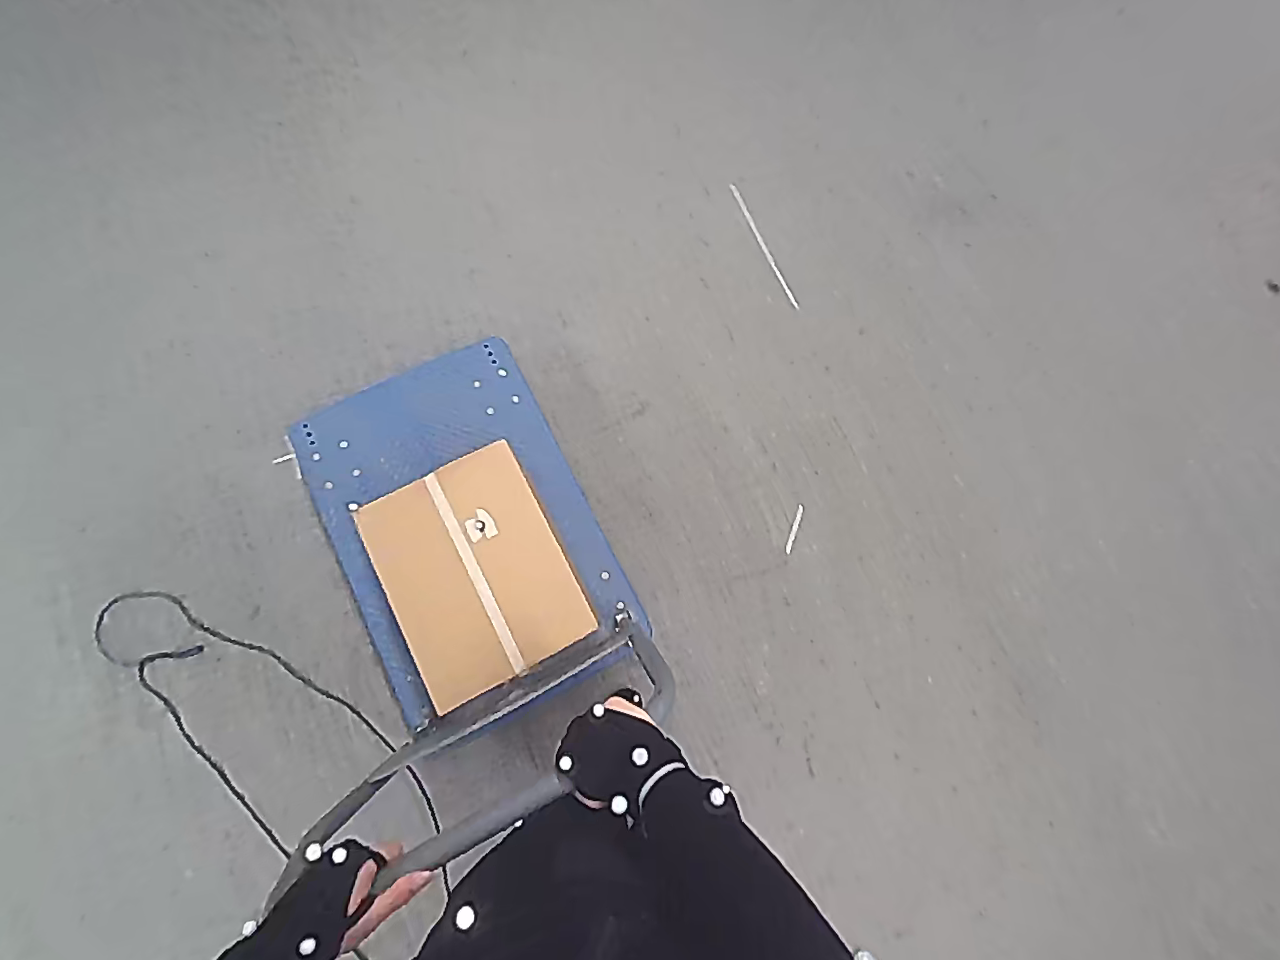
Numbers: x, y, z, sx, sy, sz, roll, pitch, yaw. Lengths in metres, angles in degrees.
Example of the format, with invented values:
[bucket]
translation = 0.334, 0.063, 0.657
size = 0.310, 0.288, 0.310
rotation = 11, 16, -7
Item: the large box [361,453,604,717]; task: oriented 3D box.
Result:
[large box]
translation = -0.305, 0.217, 1.150
size = 0.320, 0.320, 0.408
rotation = -27, 79, -9
